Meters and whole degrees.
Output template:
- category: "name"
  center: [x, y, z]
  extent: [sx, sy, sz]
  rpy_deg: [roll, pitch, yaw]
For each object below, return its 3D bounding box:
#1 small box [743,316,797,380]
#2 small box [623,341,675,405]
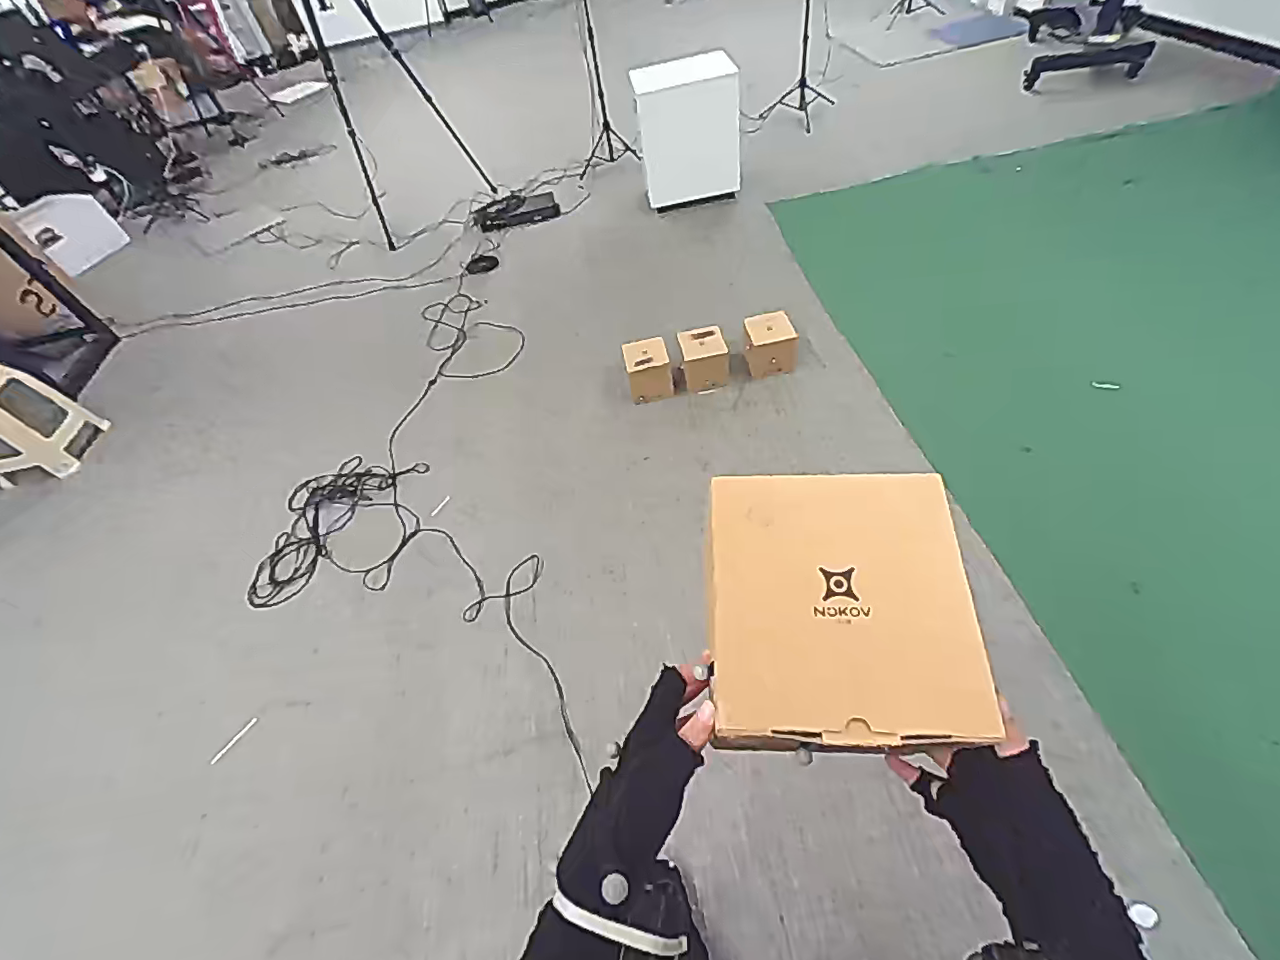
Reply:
- category: "small box"
  center: [0.508, -0.513, 2.126]
  extent: [0.168, 0.176, 0.179]
  rpy_deg: [-11, 50, 1]
- category: "small box"
  center: [0.038, -0.415, 2.138]
  extent: [0.168, 0.176, 0.179]
  rpy_deg: [-13, 49, 2]
